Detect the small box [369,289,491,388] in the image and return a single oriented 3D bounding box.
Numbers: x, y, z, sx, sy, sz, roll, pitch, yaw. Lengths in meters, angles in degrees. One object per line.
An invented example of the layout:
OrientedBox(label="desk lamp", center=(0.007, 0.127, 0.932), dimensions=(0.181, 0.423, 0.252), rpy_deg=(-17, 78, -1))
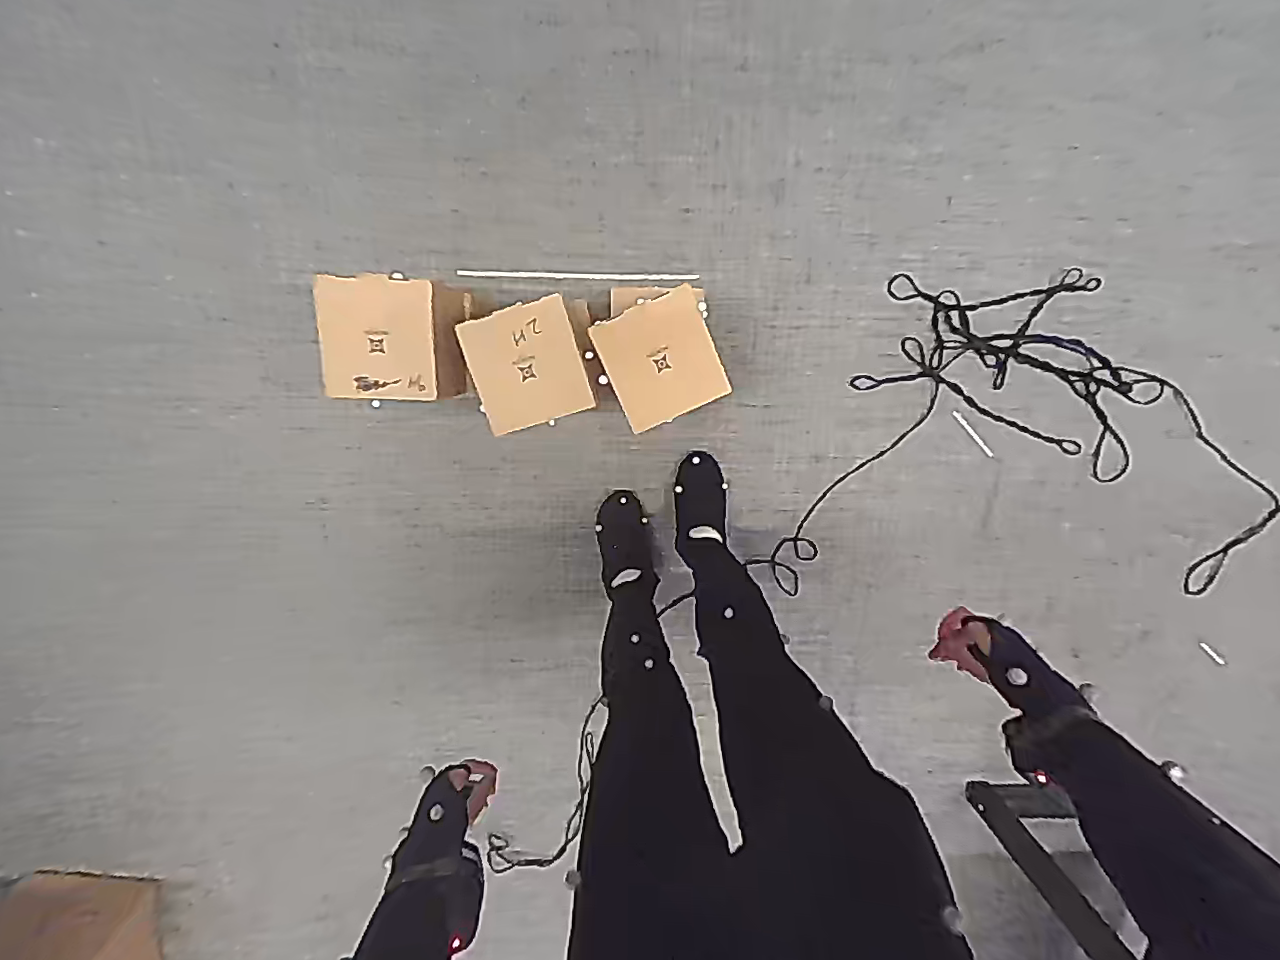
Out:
OrientedBox(label="small box", center=(-0.381, -0.264, 1.021), dimensions=(0.179, 0.176, 0.168), rpy_deg=(1, 103, -1))

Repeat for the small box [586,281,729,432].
OrientedBox(label="small box", center=(0.028, -0.199, 0.880), dimensions=(0.168, 0.176, 0.179), rpy_deg=(-24, 102, 5))

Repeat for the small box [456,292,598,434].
OrientedBox(label="small box", center=(-0.170, -0.190, 0.878), dimensions=(0.168, 0.176, 0.179), rpy_deg=(-16, 103, 2))
